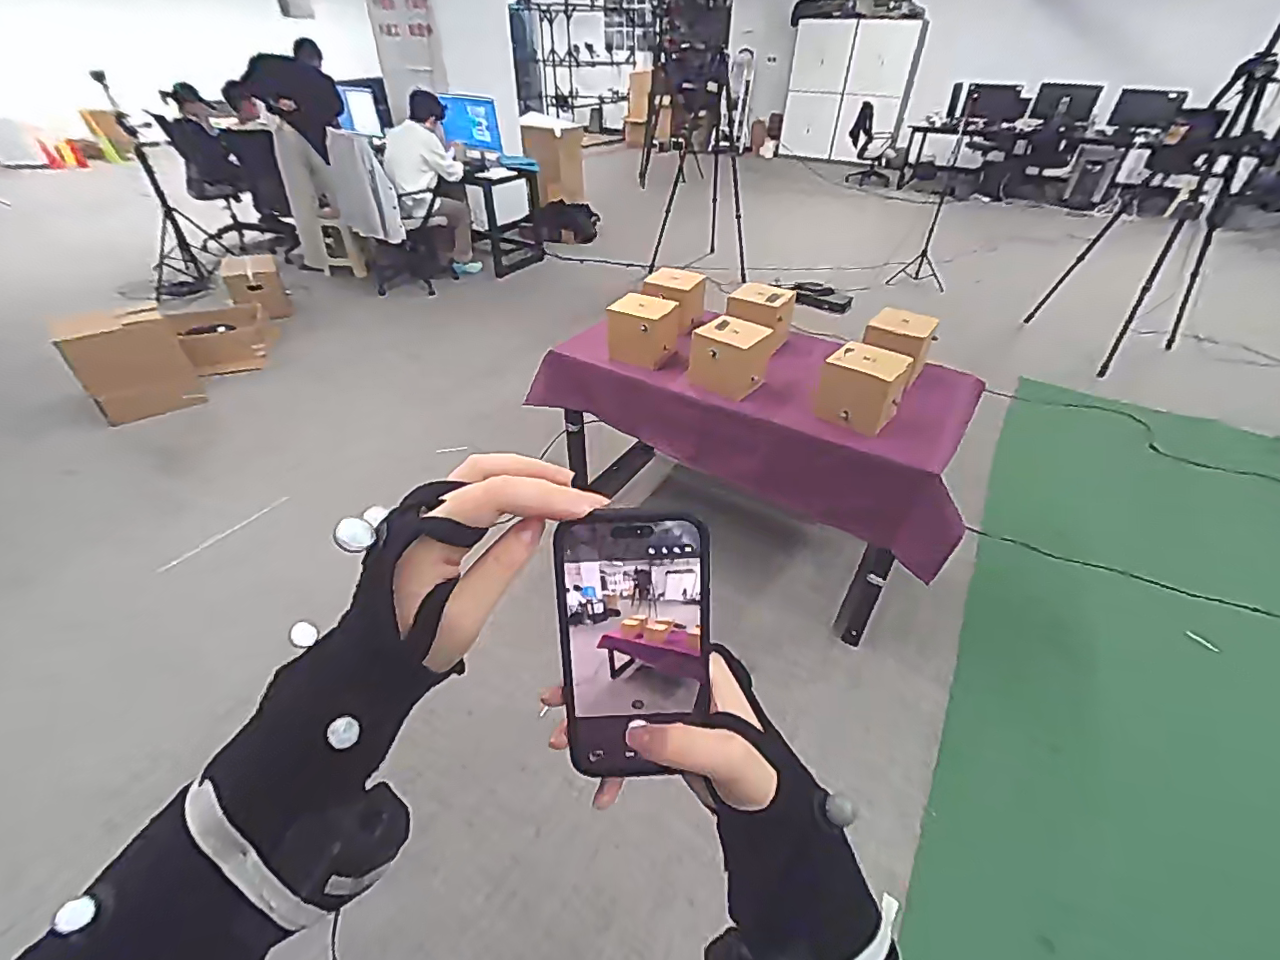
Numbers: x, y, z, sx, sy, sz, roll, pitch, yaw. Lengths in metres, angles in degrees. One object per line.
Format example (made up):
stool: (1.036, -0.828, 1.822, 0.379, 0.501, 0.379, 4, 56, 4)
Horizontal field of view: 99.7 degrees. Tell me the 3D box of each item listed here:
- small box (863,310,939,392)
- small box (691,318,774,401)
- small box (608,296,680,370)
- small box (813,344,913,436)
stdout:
small box: (0.778, -0.394, 1.649, 0.168, 0.176, 0.179, 25, 45, 28)
small box: (0.265, -0.351, 1.582, 0.179, 0.176, 0.168, 28, 46, 28)
small box: (0.011, -0.468, 1.723, 0.179, 0.176, 0.168, 20, 42, 19)
small box: (0.593, -0.238, 1.450, 0.179, 0.176, 0.168, 29, 46, 29)
